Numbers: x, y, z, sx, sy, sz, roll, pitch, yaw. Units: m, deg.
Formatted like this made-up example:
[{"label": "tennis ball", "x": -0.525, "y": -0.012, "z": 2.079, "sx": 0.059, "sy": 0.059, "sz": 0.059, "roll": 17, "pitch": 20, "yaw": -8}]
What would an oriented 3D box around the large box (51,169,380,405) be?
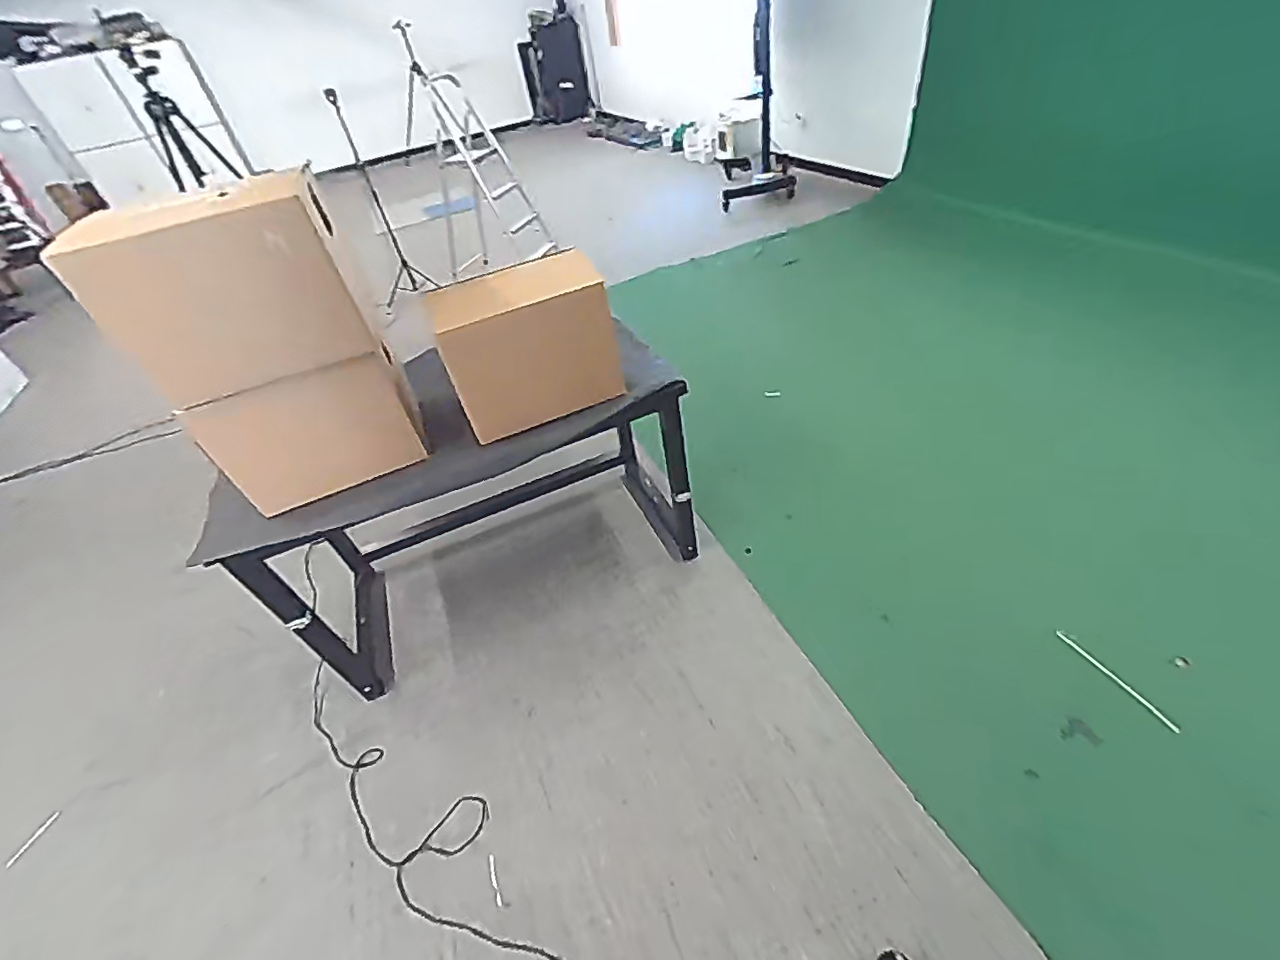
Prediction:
[{"label": "large box", "x": -0.807, "y": -0.406, "z": 1.113, "sx": 0.408, "sy": 0.320, "sz": 0.320, "roll": -20, "pitch": 44, "yaw": -13}]
